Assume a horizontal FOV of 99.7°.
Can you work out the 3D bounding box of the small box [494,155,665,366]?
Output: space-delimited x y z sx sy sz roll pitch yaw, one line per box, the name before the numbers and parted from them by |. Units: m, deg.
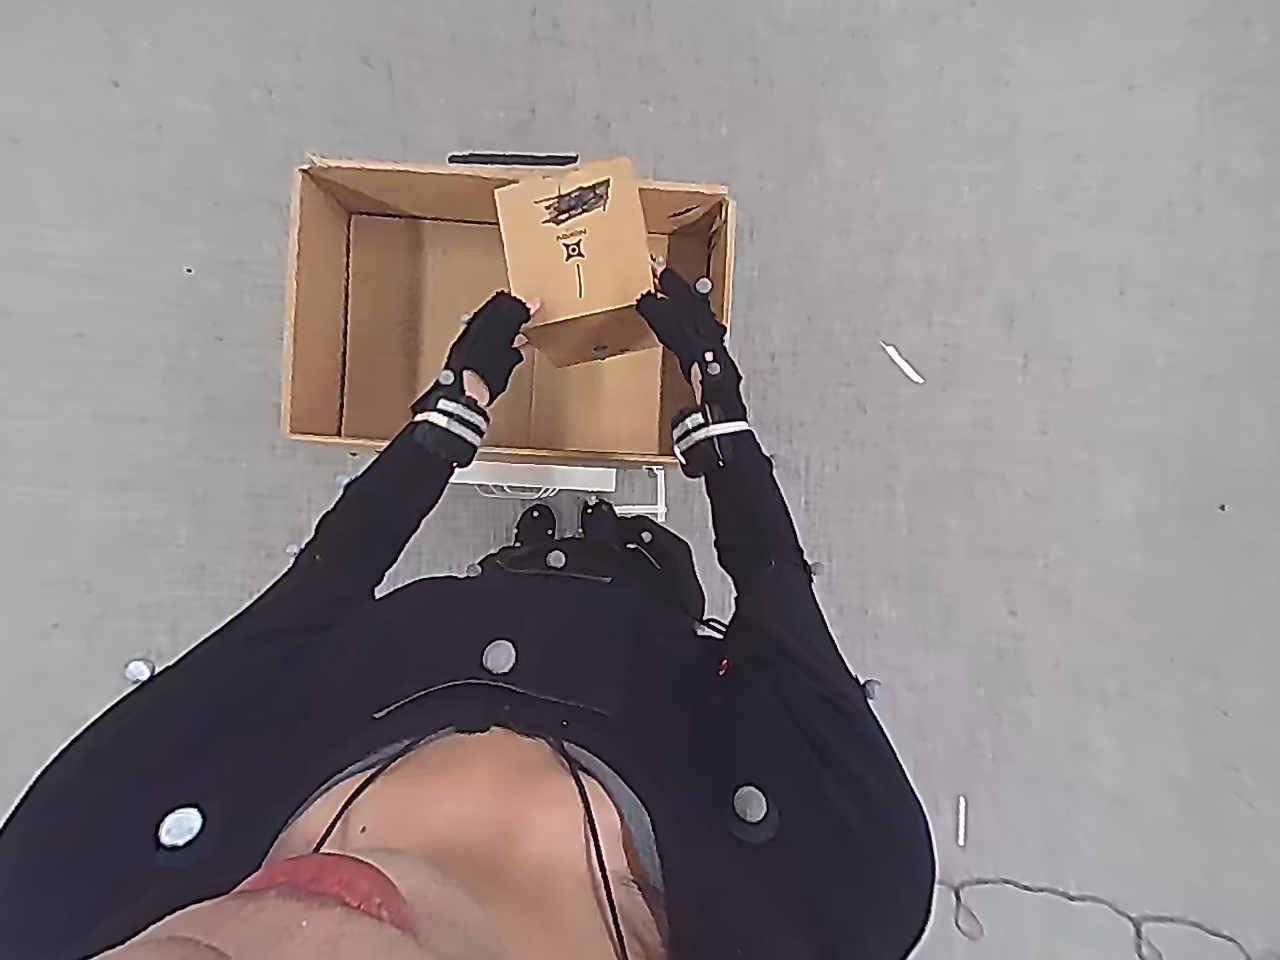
small box | -0.066 -0.263 0.688 0.168 0.176 0.179 -11 86 7
